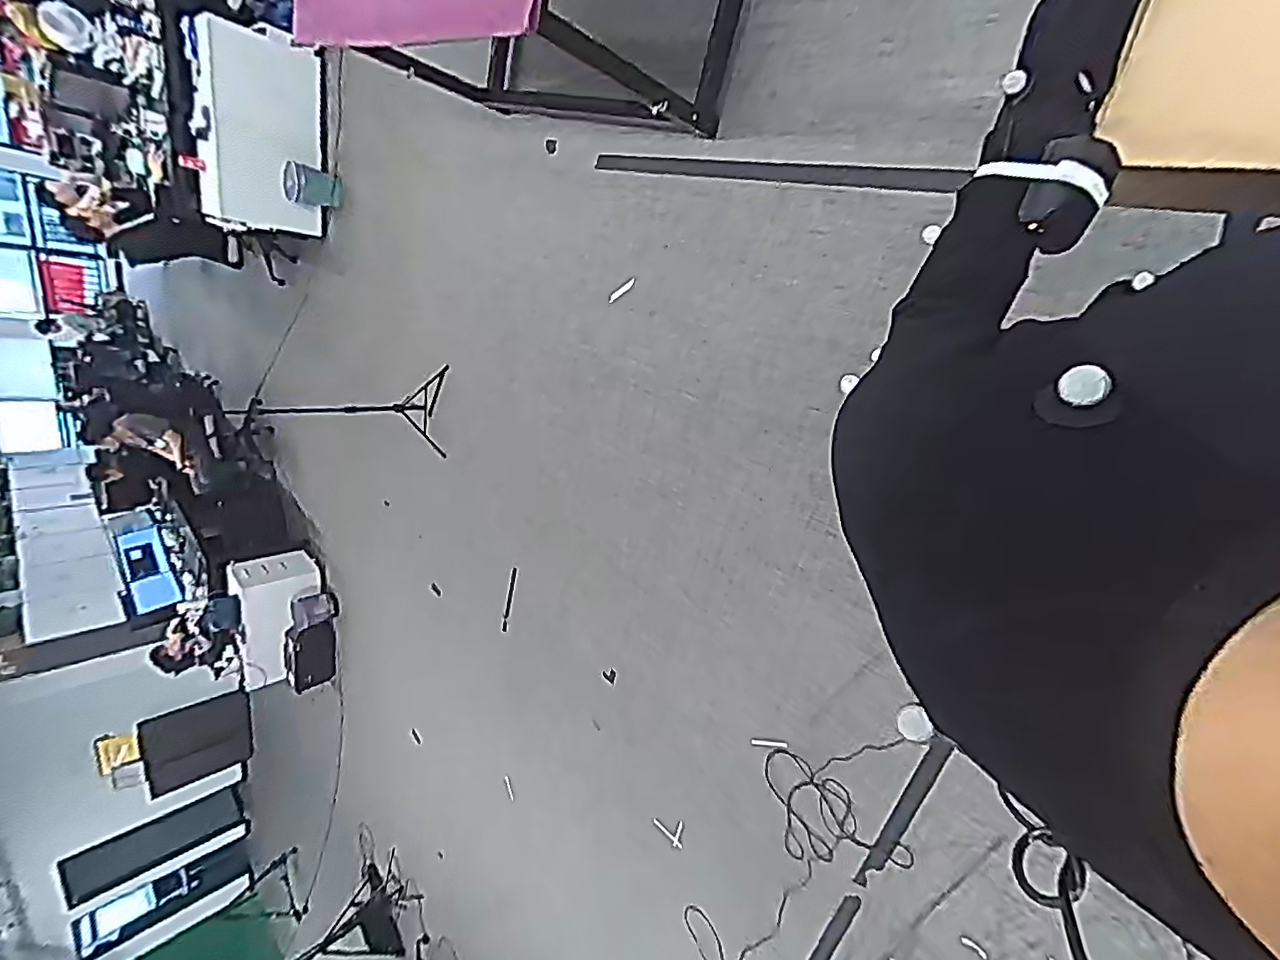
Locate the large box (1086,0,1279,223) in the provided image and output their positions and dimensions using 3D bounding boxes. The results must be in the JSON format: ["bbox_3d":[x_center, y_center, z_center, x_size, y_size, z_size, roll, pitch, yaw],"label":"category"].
[{"bbox_3d":[0.612,-0.357,0.373,0.408,0.320,0.320,24,121,32],"label":"large box"}]
